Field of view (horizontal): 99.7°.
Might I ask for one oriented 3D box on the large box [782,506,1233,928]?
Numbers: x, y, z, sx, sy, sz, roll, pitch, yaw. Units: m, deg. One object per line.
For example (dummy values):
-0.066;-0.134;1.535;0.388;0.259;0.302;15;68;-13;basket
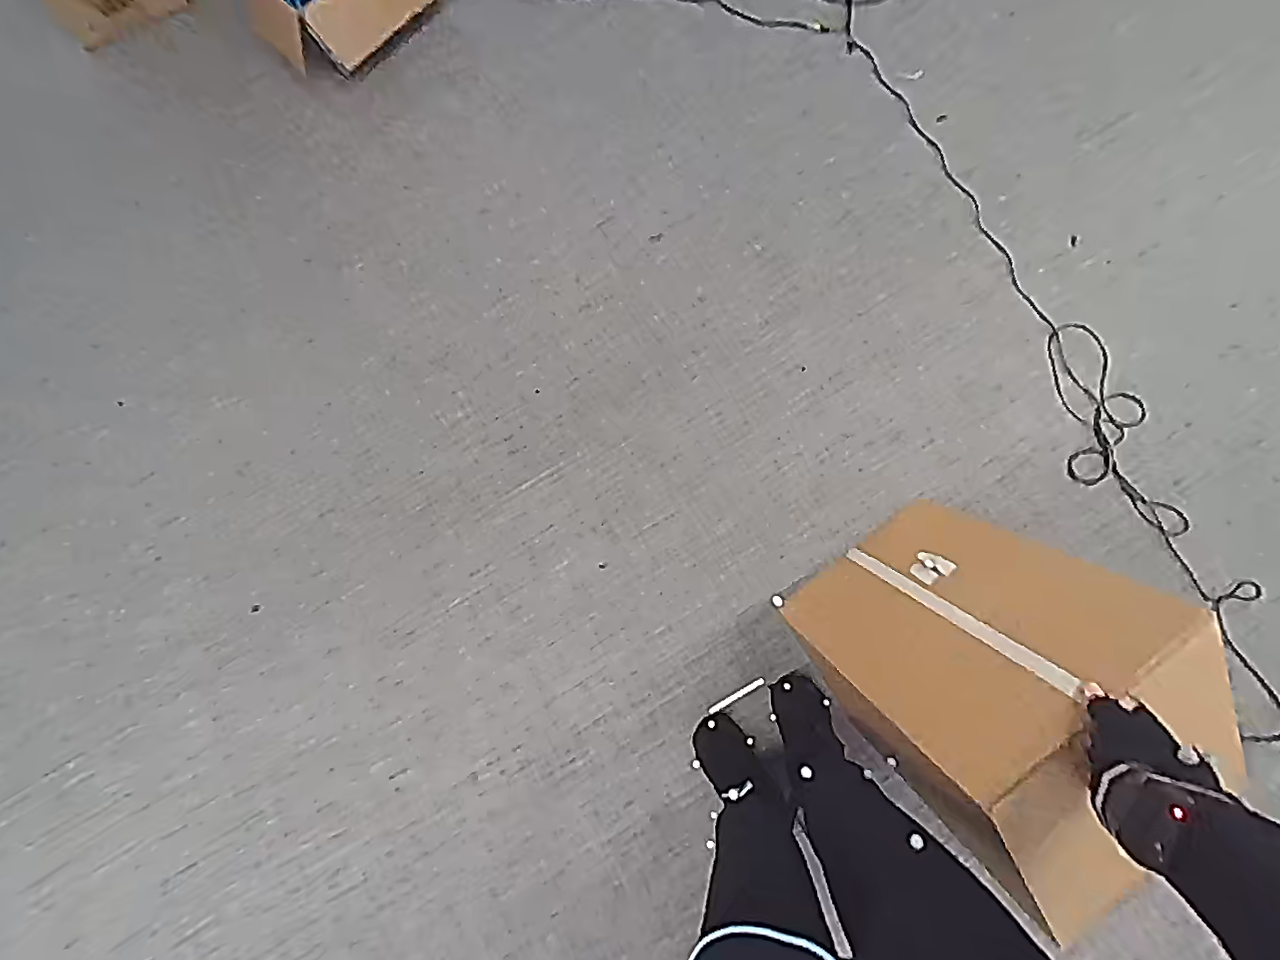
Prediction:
0.493;0.297;0.790;0.320;0.408;0.320;-36;112;-5;large box
